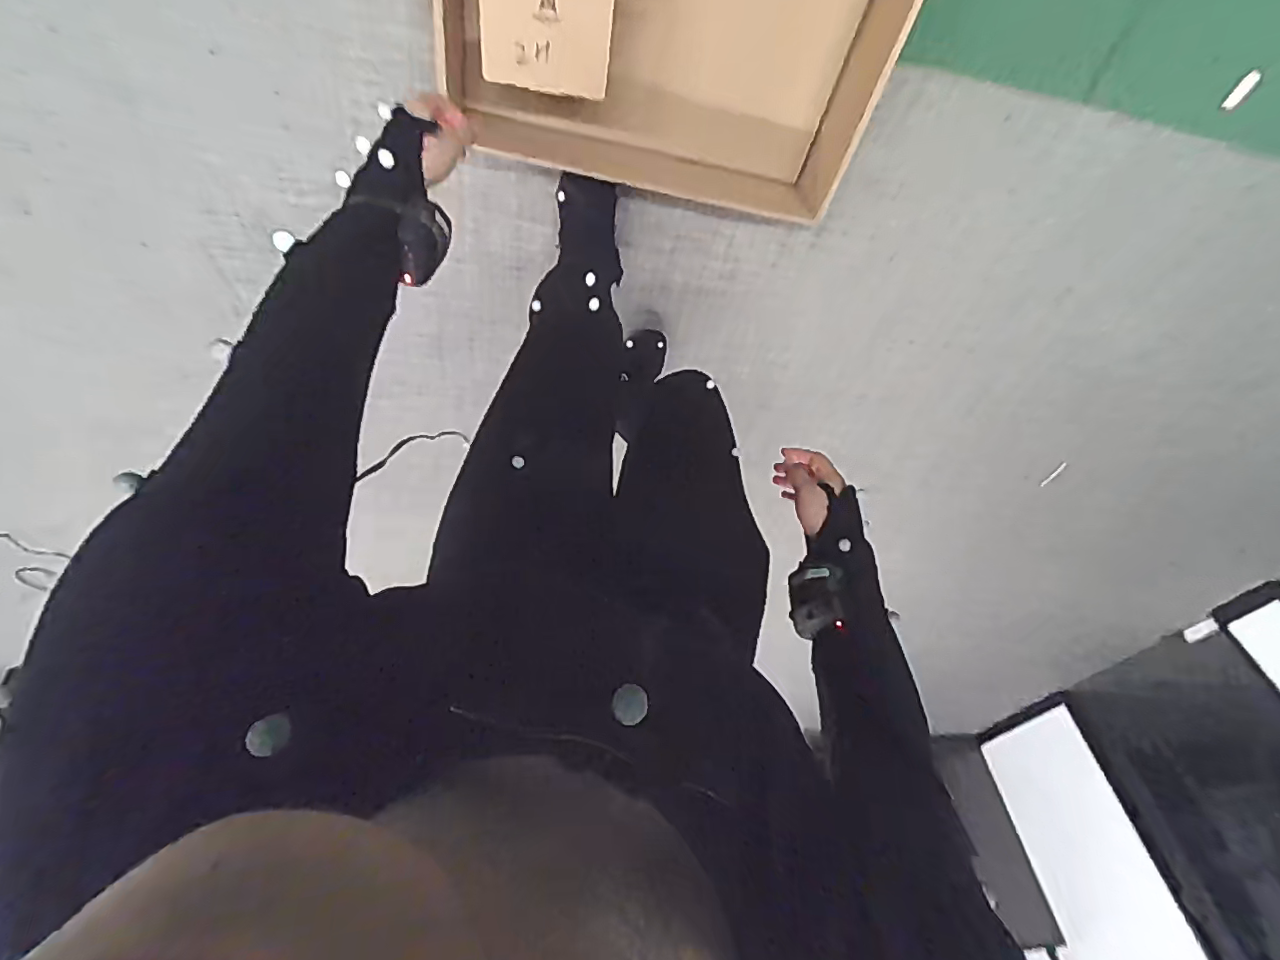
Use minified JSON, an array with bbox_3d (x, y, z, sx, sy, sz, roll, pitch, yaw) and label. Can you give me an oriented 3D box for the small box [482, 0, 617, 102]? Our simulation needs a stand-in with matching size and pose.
[{"bbox_3d":[-0.117,-0.641,0.719,0.168,0.176,0.179,5,138,-9],"label":"small box"}]
